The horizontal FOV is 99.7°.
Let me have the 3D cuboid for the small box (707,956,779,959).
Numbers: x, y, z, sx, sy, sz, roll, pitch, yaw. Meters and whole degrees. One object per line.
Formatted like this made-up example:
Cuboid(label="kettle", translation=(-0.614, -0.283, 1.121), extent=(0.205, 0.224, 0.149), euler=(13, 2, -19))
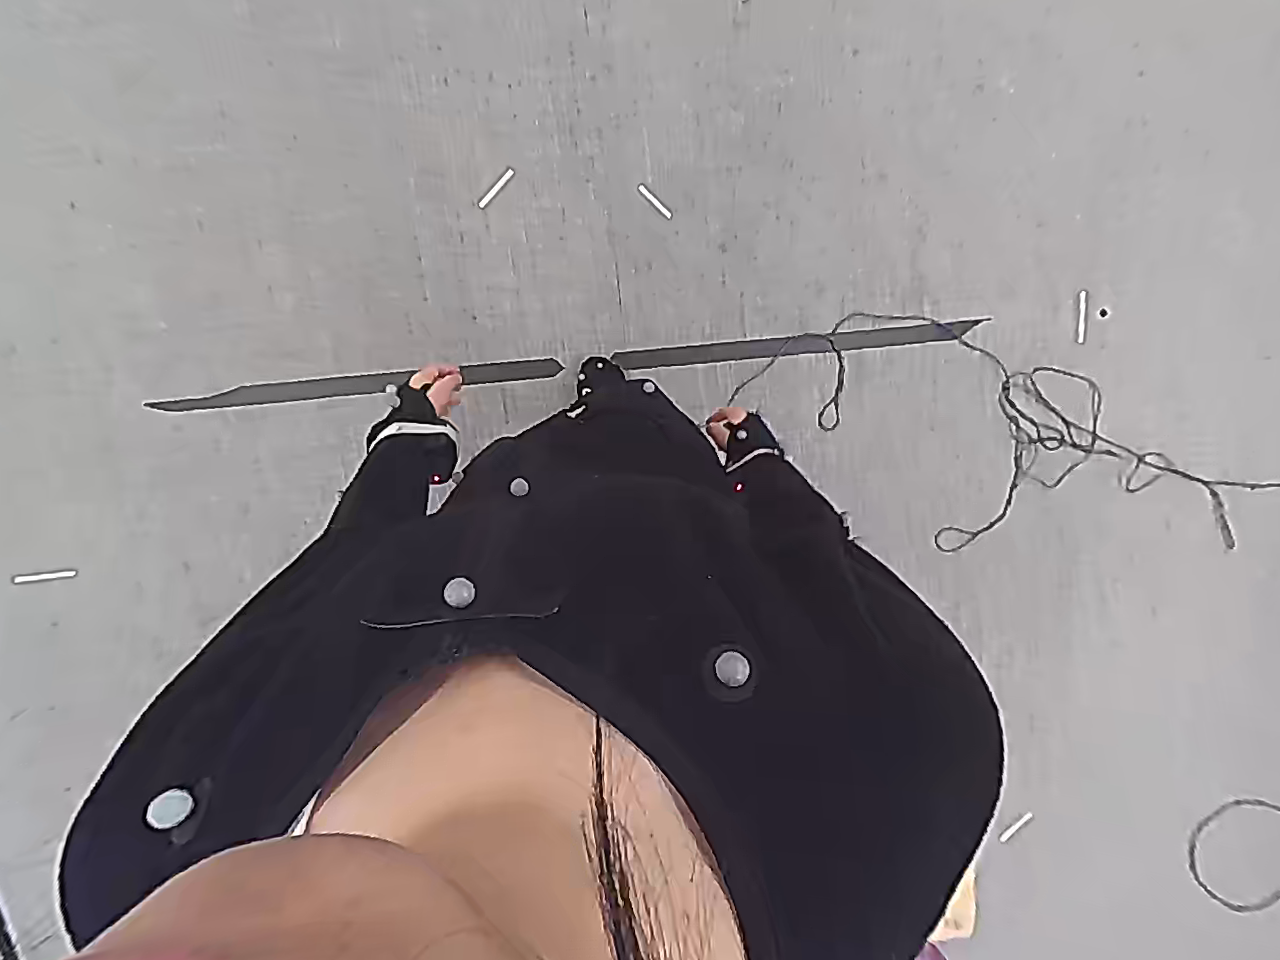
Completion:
Cuboid(label="small box", translation=(0.173, 0.887, 0.837), extent=(0.168, 0.176, 0.179), euler=(-4, 100, -3))
